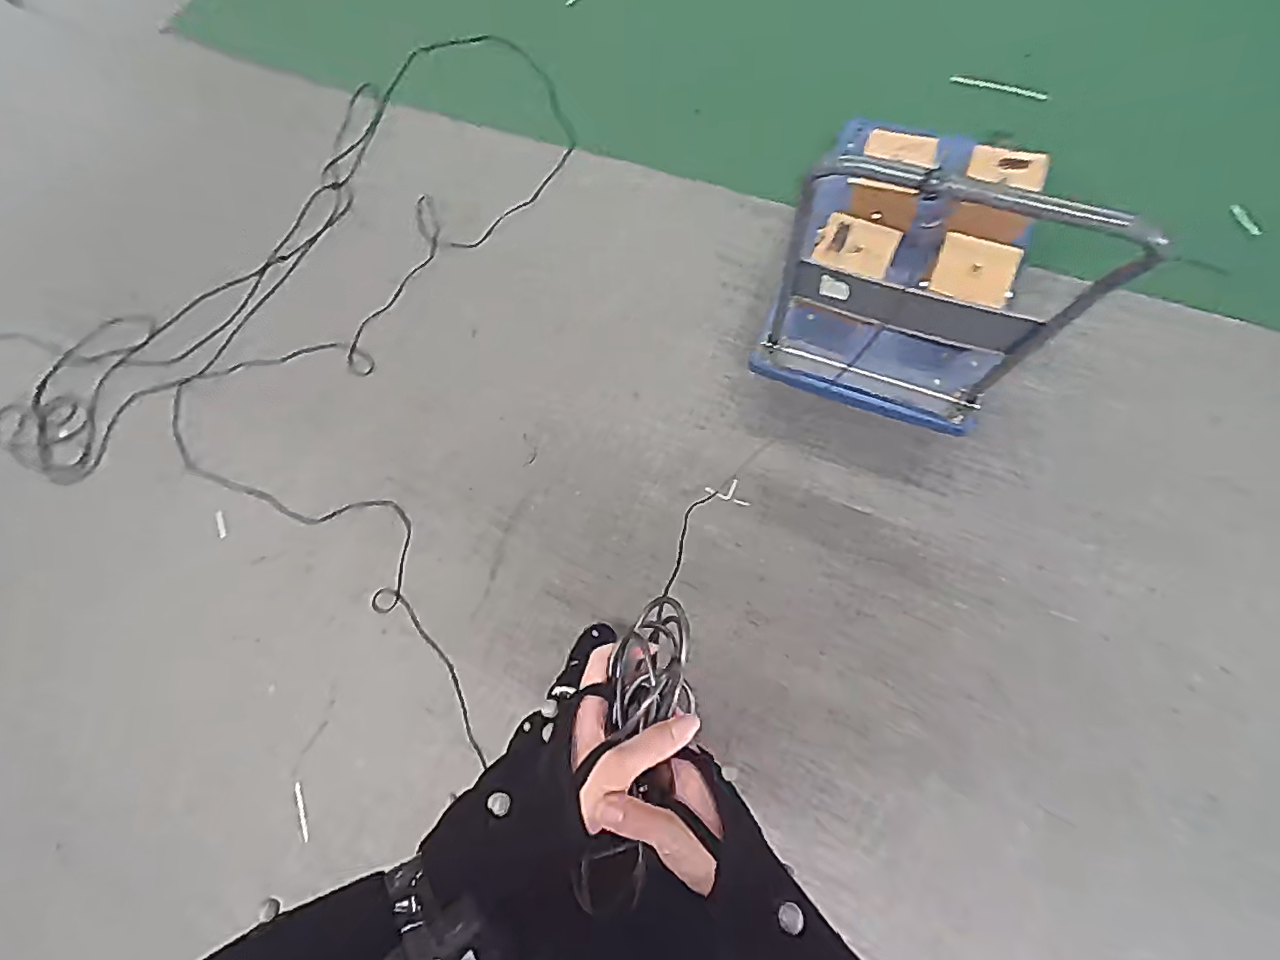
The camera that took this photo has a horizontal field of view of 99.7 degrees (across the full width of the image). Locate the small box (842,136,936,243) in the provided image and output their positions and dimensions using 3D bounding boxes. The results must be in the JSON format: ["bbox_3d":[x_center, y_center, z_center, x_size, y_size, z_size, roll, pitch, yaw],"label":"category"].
[{"bbox_3d":[0.653,-0.767,1.438,0.168,0.176,0.179,17,77,11],"label":"small box"}]

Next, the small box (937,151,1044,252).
[{"bbox_3d":[0.889,-0.696,1.386,0.168,0.176,0.179,17,78,13],"label":"small box"}]

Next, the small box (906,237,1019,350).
[{"bbox_3d":[0.783,-0.454,1.331,0.168,0.176,0.179,22,79,13],"label":"small box"}]
